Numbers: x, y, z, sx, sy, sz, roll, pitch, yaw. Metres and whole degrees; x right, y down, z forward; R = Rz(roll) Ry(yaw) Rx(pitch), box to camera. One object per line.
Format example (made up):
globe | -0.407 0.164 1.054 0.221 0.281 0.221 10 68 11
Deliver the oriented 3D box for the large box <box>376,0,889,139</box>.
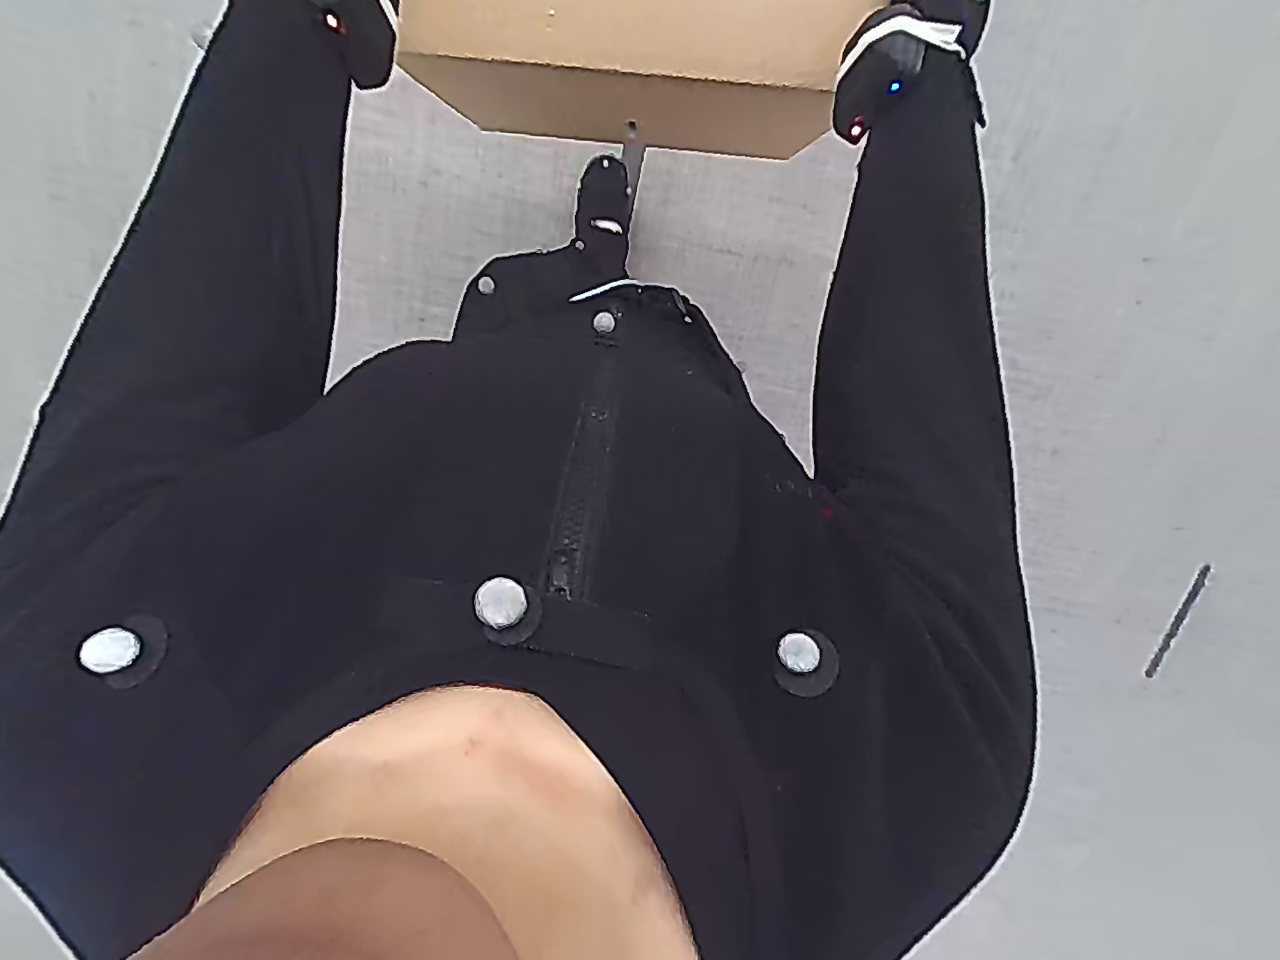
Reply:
large box | 0.008 -0.538 0.508 0.408 0.320 0.320 6 112 -1
